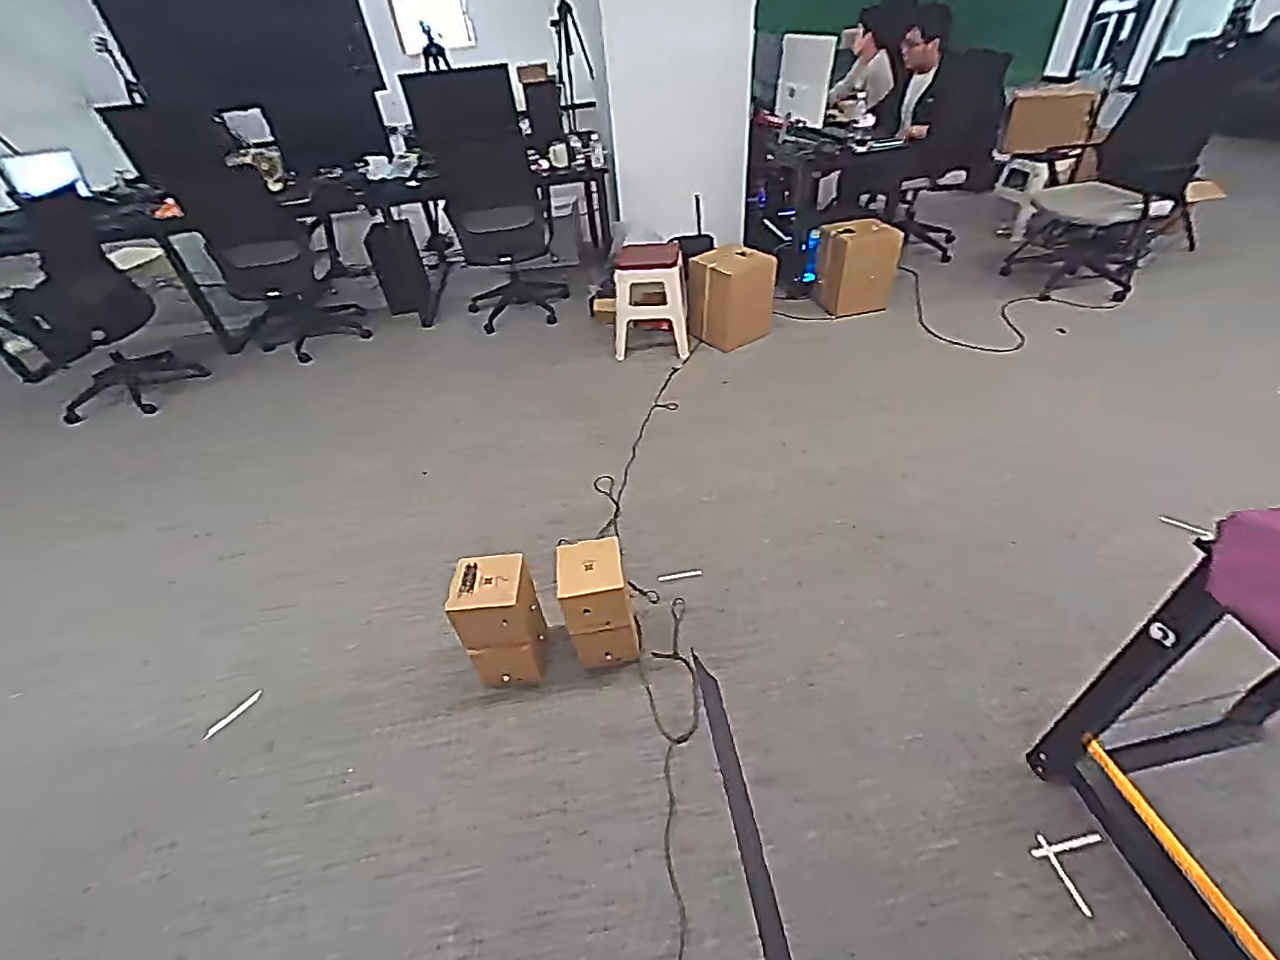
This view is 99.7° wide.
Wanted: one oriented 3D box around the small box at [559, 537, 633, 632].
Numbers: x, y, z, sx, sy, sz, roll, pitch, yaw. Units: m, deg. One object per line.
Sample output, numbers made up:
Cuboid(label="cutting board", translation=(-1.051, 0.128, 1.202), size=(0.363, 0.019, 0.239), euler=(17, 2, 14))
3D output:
Cuboid(label="small box", translation=(-0.115, 0.280, 1.416), size=(0.168, 0.176, 0.179), euler=(-10, 40, -1))

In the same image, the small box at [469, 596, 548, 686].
Cuboid(label="small box", translation=(-0.356, 0.449, 1.506), size=(0.168, 0.176, 0.179), euler=(-5, 42, 2))

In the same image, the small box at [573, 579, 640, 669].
Cuboid(label="small box", translation=(-0.096, 0.402, 1.522), size=(0.168, 0.176, 0.179), euler=(-10, 41, -1))
